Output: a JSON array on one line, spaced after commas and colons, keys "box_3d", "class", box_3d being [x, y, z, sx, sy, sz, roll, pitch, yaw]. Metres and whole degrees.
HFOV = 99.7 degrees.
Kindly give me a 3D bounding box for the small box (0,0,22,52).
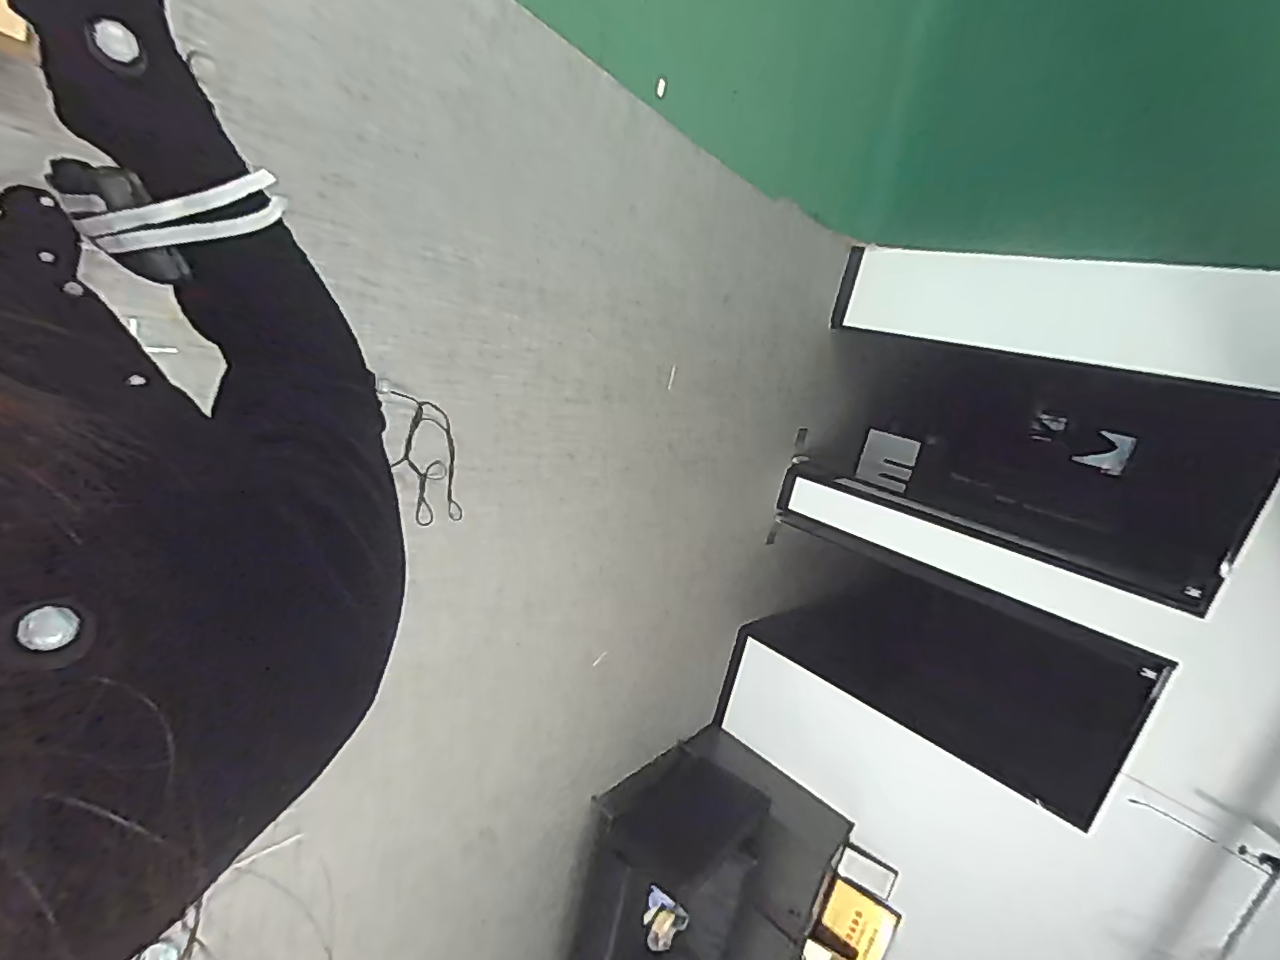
[{"box_3d": [-0.988, -0.745, 0.754, 0.168, 0.176, 0.179, 1, 107, -51], "class": "small box"}]
